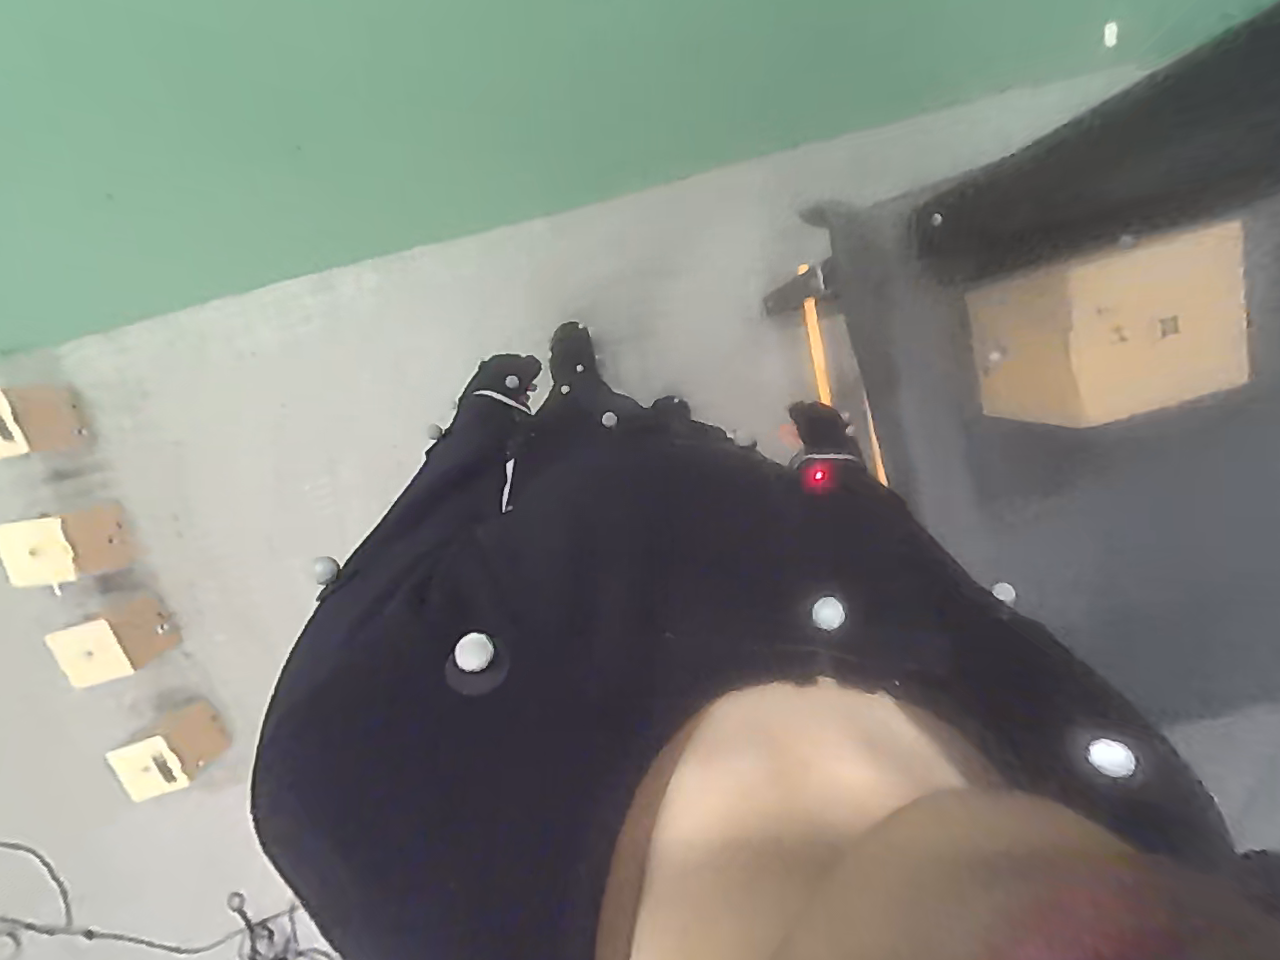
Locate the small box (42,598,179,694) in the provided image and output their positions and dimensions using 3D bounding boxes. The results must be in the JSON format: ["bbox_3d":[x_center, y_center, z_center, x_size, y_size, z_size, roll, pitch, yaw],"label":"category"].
[{"bbox_3d":[-1.426,0.444,1.469,0.179,0.176,0.168,-17,102,1],"label":"small box"}]

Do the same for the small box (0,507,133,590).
[{"bbox_3d":[-1.504,0.174,1.418,0.179,0.176,0.168,-7,101,0],"label":"small box"}]

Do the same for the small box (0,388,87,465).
[{"bbox_3d":[-1.560,-0.134,1.358,0.179,0.176,0.168,-12,101,2],"label":"small box"}]

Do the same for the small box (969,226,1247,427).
[{"bbox_3d":[0.527,-0.170,0.629,0.179,0.176,0.168,-16,101,2],"label":"small box"}]
